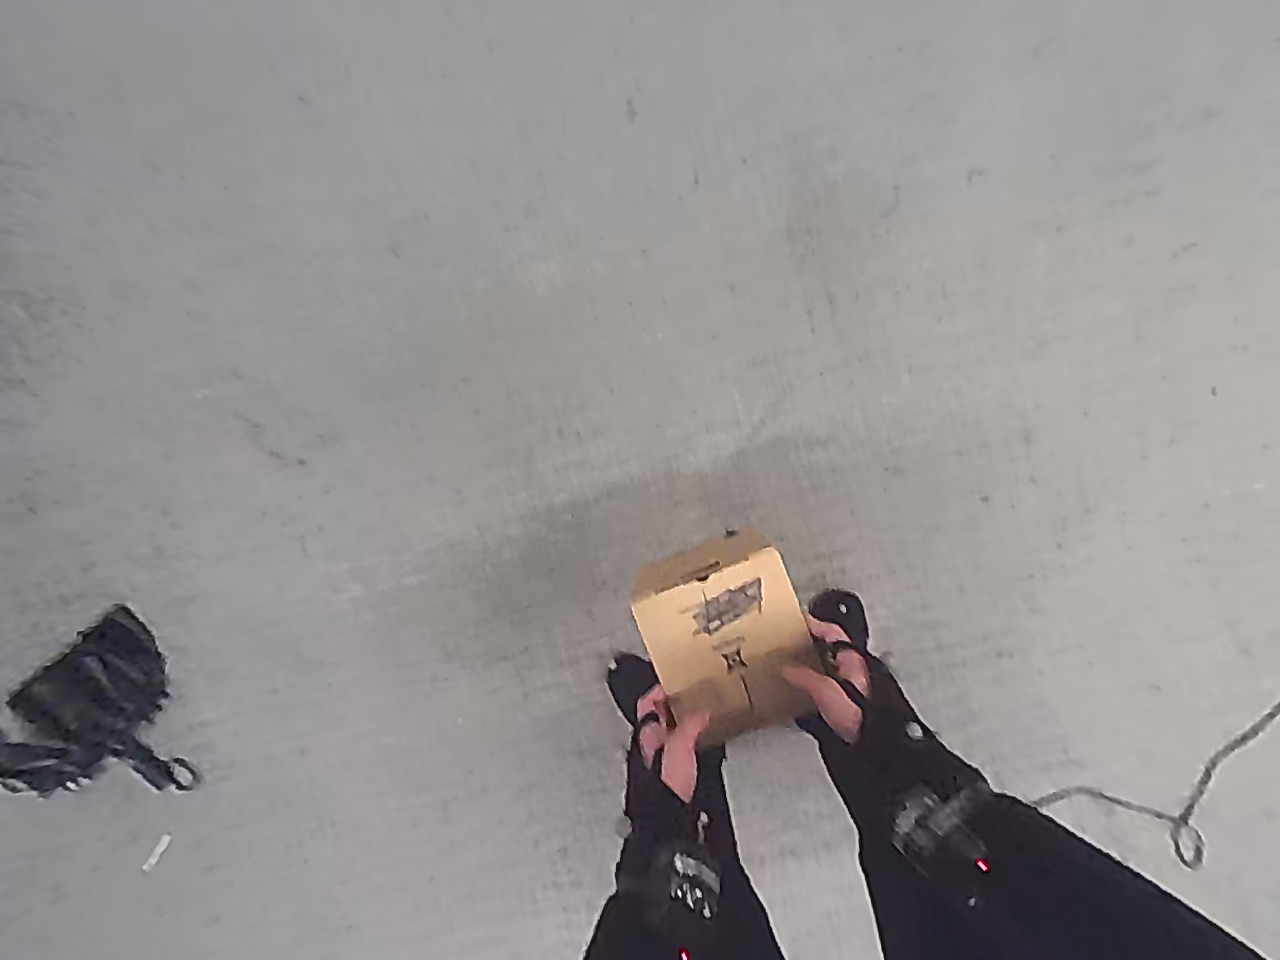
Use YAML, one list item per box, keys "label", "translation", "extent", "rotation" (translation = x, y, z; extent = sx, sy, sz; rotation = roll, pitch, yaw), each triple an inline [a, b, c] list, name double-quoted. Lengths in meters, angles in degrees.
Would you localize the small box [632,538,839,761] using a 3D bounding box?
- label: "small box"
  translation: [0.100, 0.177, 0.628]
  extent: [0.168, 0.176, 0.179]
  rotation: [-22, 92, 5]
